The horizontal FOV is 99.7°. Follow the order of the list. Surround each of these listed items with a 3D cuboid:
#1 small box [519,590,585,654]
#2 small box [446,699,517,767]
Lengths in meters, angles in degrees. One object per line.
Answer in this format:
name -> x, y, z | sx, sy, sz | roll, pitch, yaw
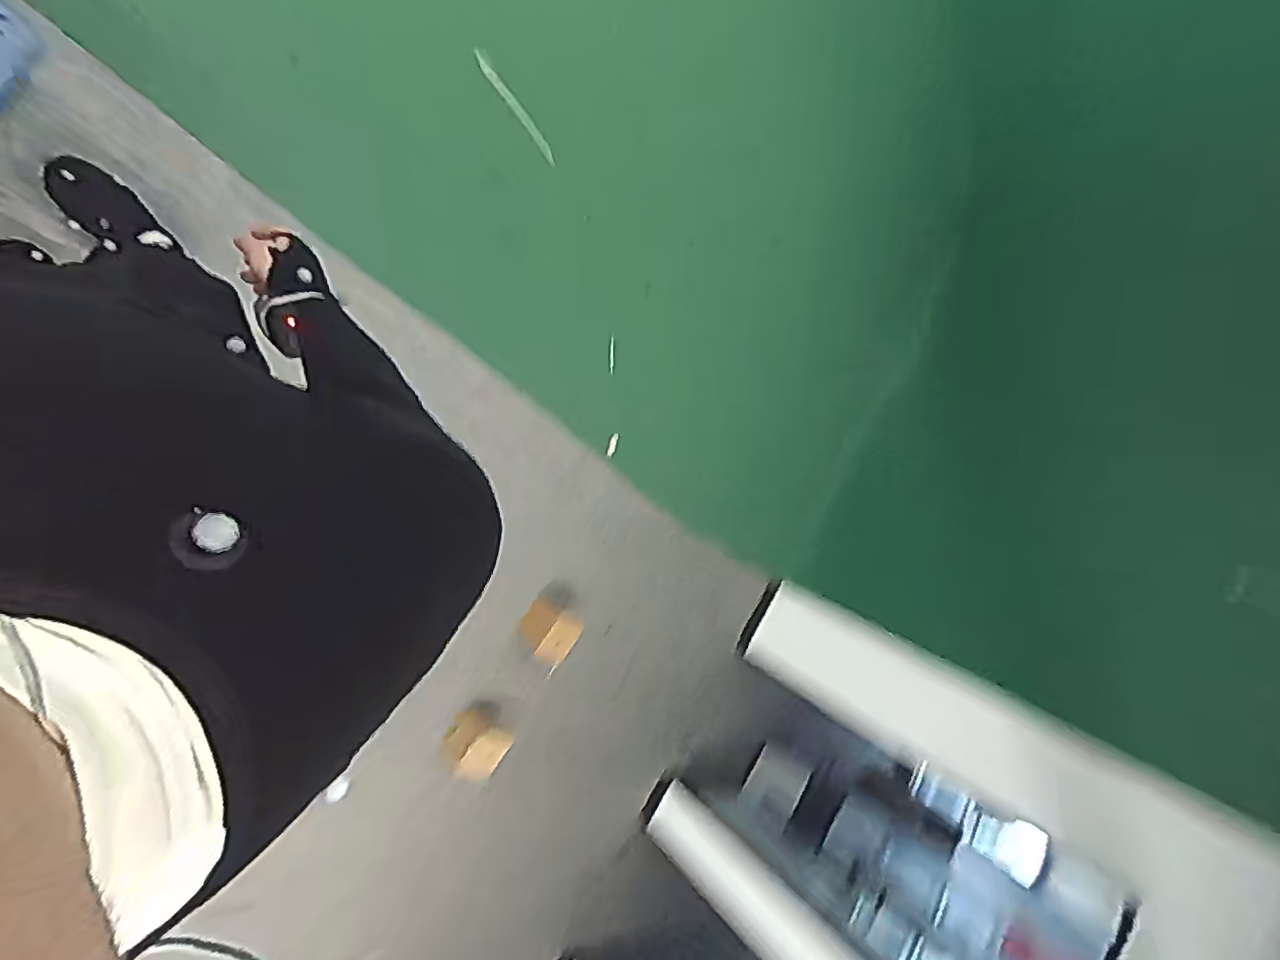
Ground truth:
small box -> -0.368, 0.581, 2.236 | 0.179, 0.176, 0.168 | -55, 136, -10
small box -> -0.637, 1.011, 2.168 | 0.168, 0.176, 0.179 | -52, 135, -16
